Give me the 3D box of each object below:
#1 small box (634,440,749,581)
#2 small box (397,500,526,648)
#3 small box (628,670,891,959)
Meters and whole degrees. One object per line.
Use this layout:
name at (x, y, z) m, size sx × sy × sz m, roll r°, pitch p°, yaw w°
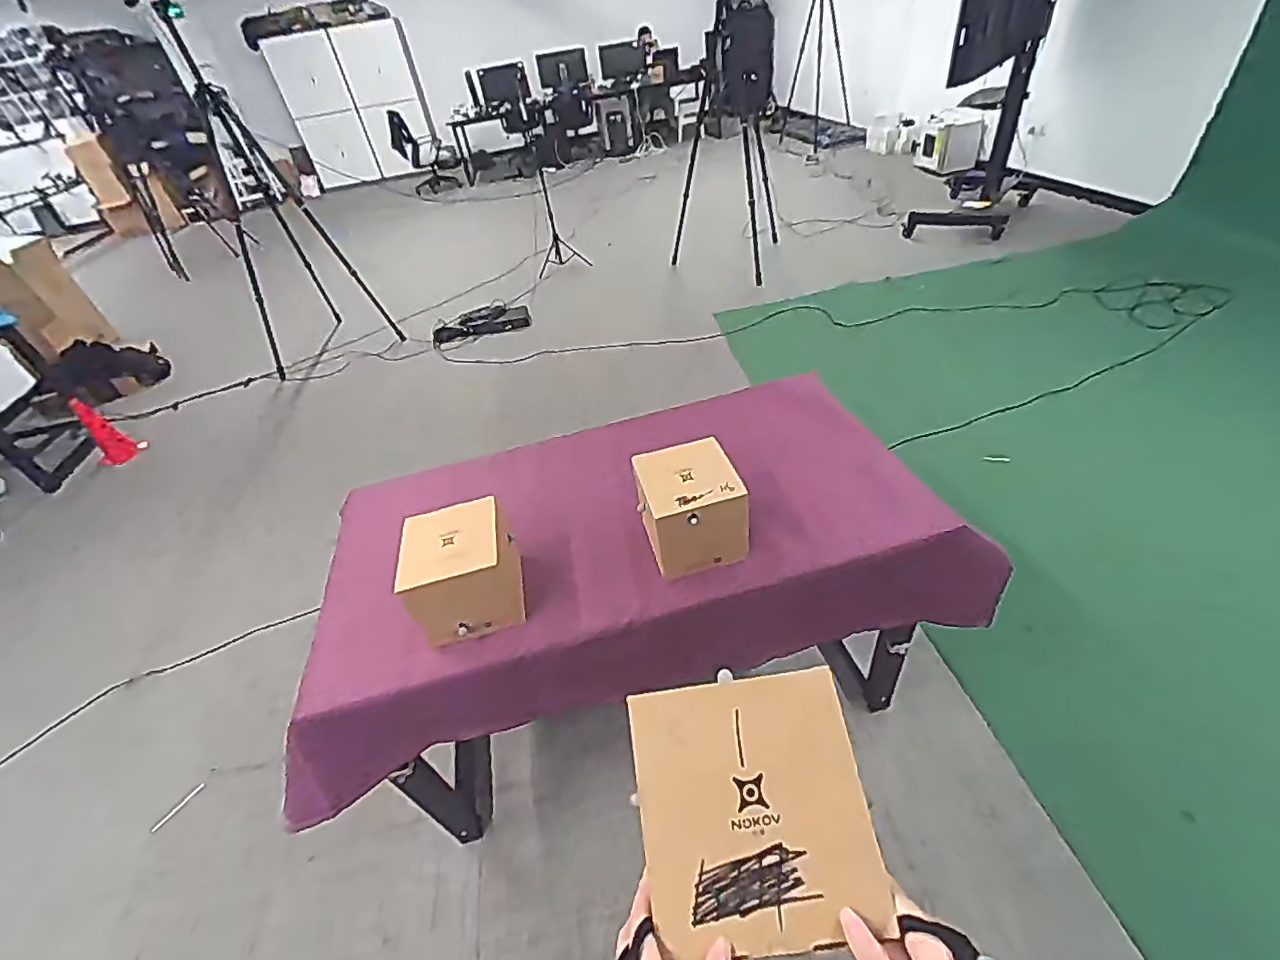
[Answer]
small box at (0.095, 0.056, 1.004) m, size 0.168 × 0.176 × 0.179 m, roll -16°, pitch 40°, yaw -4°
small box at (-0.308, 0.167, 0.965) m, size 0.168 × 0.176 × 0.179 m, roll -15°, pitch 42°, yaw -4°
small box at (0.088, 0.273, 0.472) m, size 0.168 × 0.176 × 0.179 m, roll -9°, pitch 65°, yaw 2°
